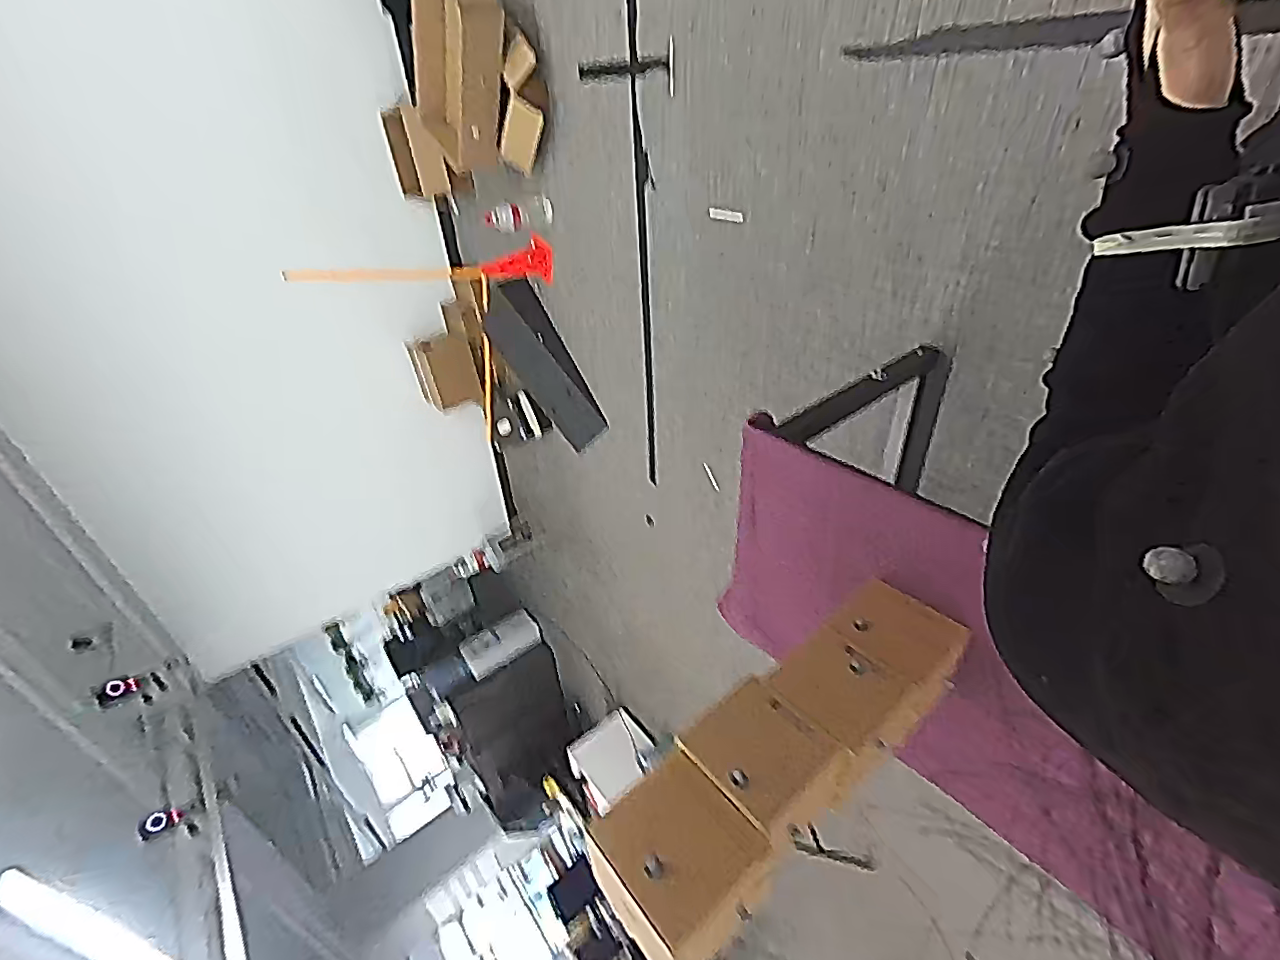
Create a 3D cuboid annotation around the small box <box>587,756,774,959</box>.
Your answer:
[{"bbox_3d":[0.052,0.507,0.723,0.179,0.176,0.168,31,137,42],"label":"small box"}]

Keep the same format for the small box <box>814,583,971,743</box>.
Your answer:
[{"bbox_3d":[0.438,0.308,0.952,0.179,0.176,0.168,31,138,41],"label":"small box"}]

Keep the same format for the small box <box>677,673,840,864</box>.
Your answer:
[{"bbox_3d":[0.173,0.430,0.802,0.168,0.176,0.179,32,138,42],"label":"small box"}]
